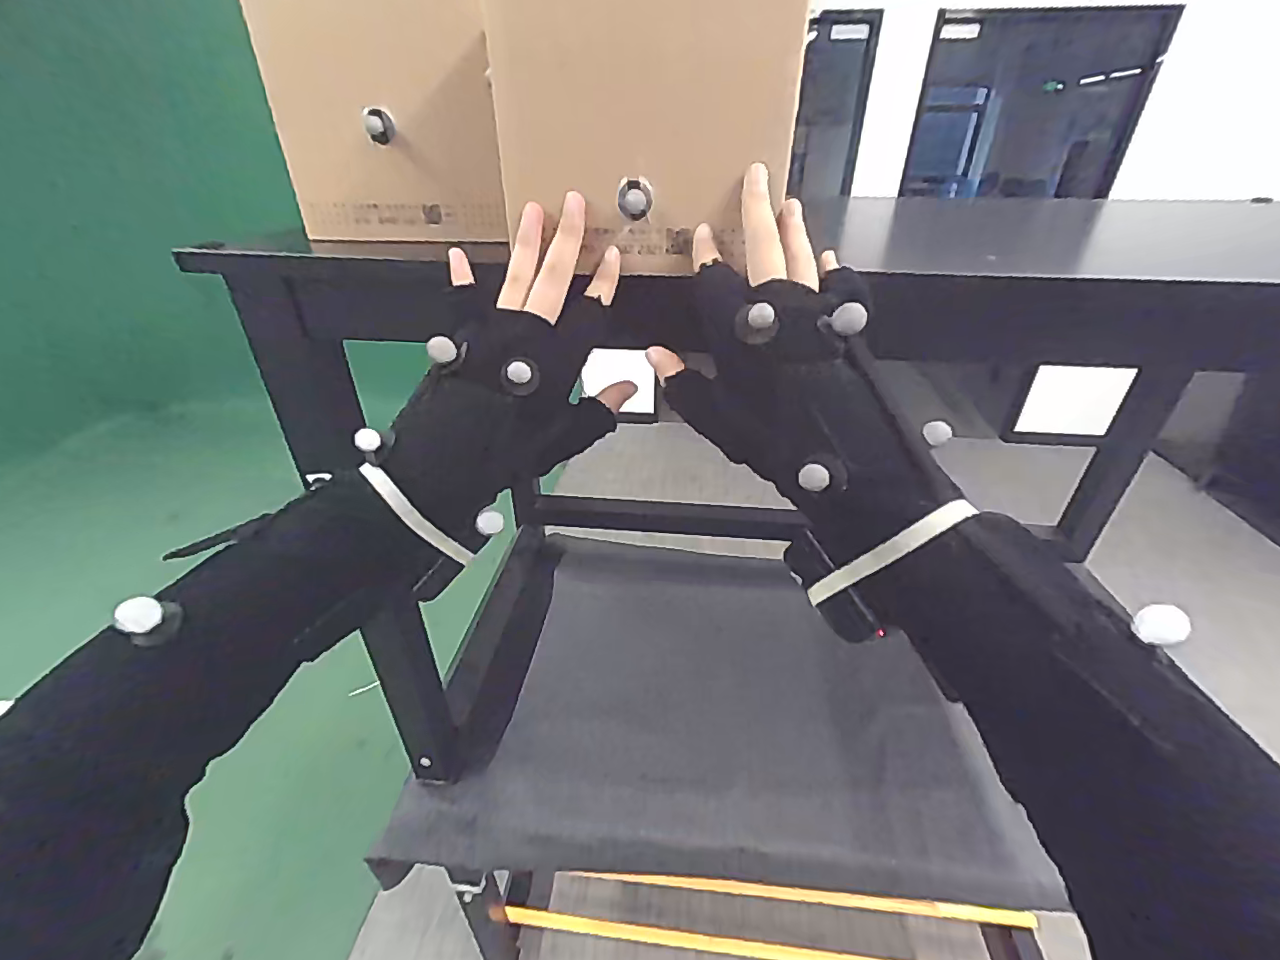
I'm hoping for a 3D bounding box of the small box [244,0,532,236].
[{"bbox_3d":[-0.196,-0.319,0.485,0.168,0.176,0.179,1,31,-1],"label":"small box"}]
